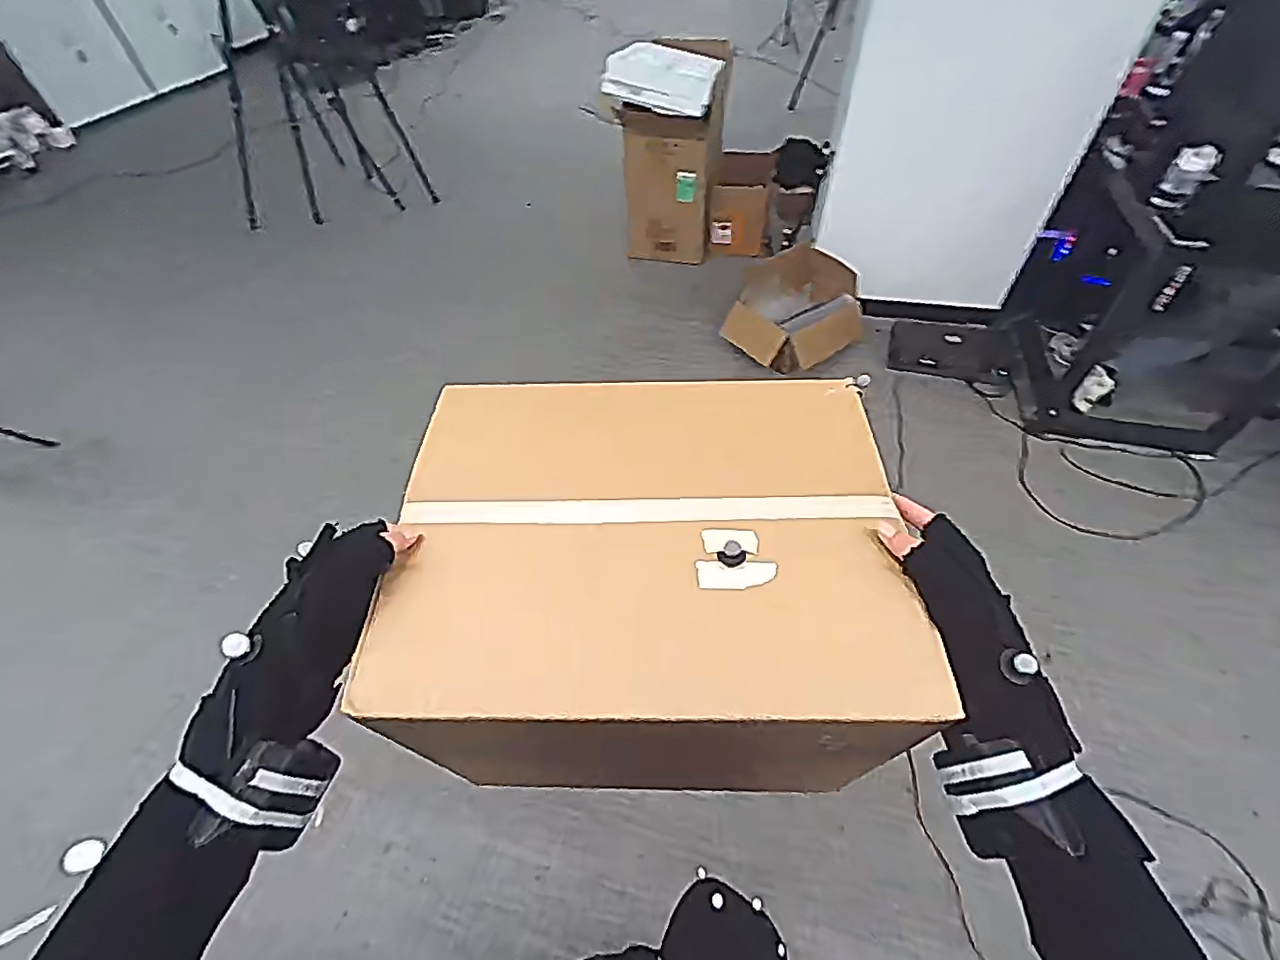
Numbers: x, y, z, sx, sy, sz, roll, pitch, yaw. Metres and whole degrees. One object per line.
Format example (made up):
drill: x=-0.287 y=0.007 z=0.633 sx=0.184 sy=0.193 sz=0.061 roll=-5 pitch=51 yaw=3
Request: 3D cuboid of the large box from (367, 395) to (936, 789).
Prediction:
large box: x=0.008 y=0.128 z=0.578 sx=0.408 sy=0.320 sz=0.320 roll=-1 pitch=53 yaw=1
